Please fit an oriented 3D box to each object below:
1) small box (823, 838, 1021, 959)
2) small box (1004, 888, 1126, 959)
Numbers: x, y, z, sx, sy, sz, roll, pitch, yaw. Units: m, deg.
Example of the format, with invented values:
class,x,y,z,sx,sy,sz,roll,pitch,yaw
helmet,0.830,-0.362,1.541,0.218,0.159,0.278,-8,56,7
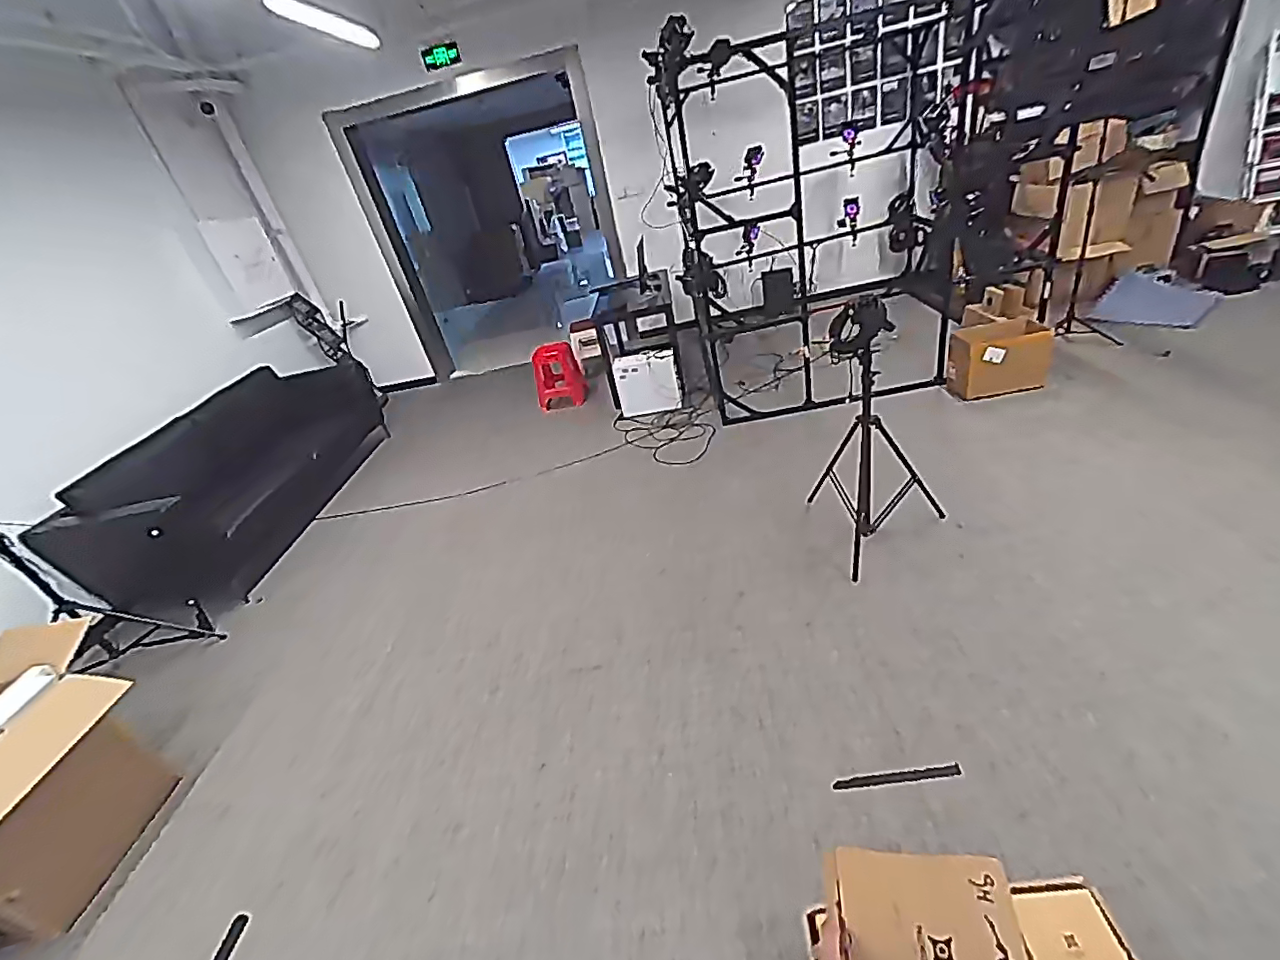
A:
class,x,y,z,sx,sy,sz,roll,pitch,yaw
small box,0.306,0.518,0.614,0.179,0.176,0.168,-3,54,12
small box,0.857,0.970,1.100,0.168,0.176,0.179,-11,34,7
